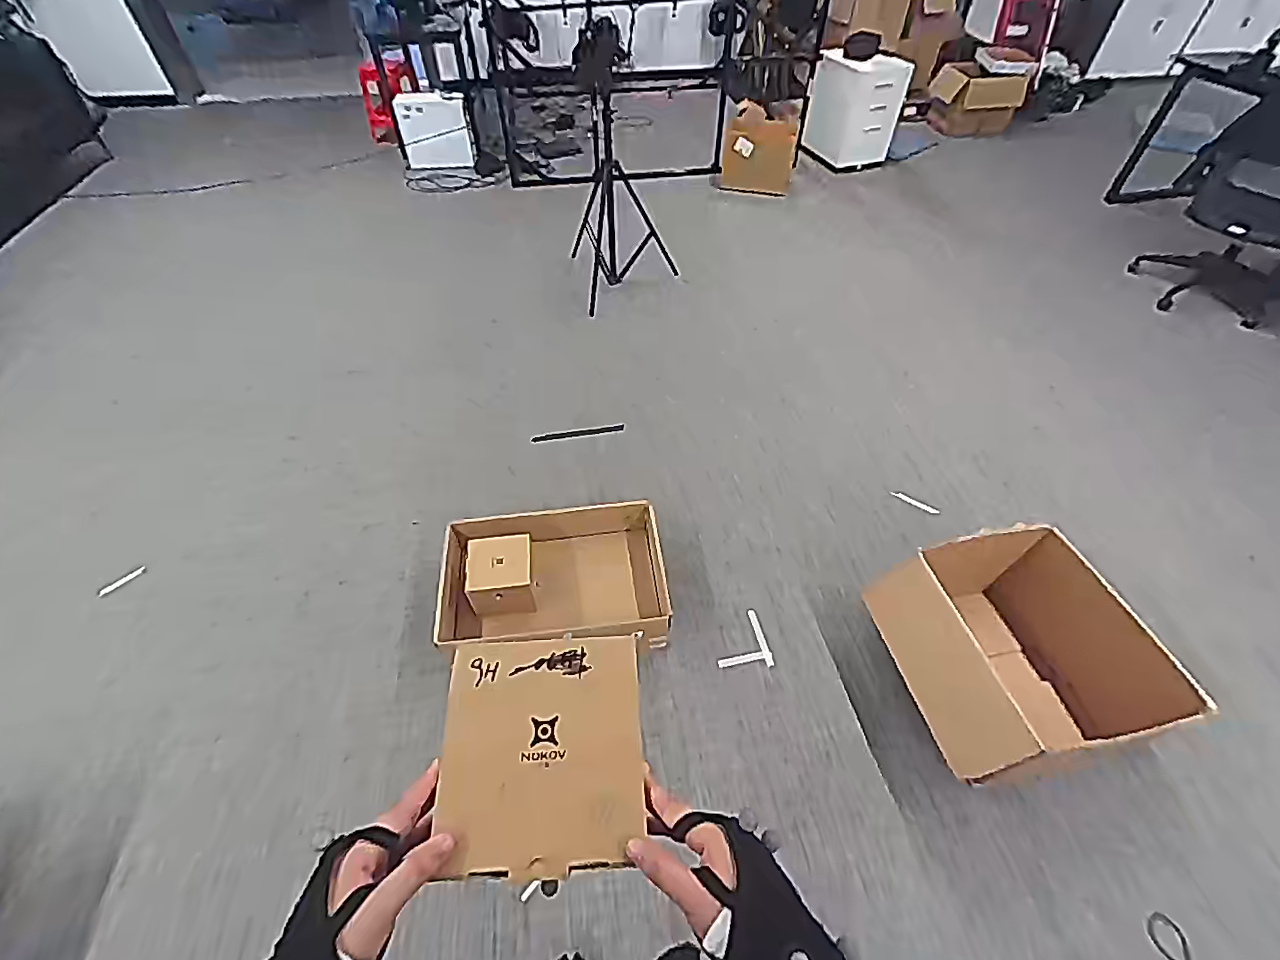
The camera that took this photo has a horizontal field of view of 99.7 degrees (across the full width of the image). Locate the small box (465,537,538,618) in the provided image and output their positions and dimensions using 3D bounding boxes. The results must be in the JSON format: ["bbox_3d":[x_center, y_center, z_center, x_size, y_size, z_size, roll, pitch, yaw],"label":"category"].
[{"bbox_3d":[-0.394,0.285,1.558,0.179,0.176,0.168,-6,52,-7],"label":"small box"}]

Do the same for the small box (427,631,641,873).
[{"bbox_3d":[-0.085,0.259,0.516,0.168,0.176,0.179,-2,55,-4],"label":"small box"}]
